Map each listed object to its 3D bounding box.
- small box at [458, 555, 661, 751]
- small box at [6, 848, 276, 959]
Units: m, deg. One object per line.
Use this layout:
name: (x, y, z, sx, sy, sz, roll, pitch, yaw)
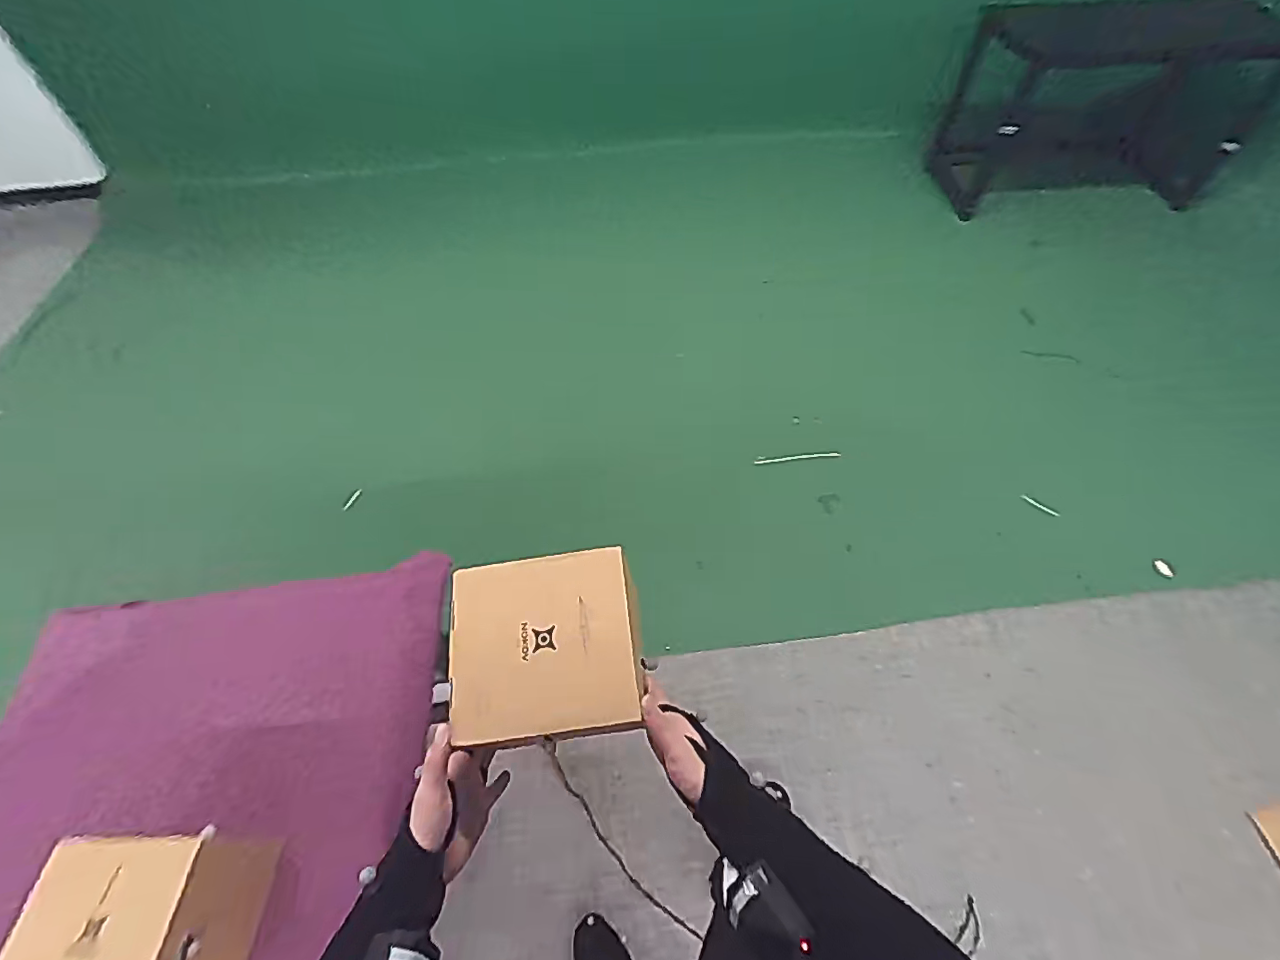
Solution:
small box: (-0.076, 0.194, 0.583, 0.179, 0.176, 0.168, -7, 63, 1)
small box: (-0.567, 0.532, 0.623, 0.168, 0.176, 0.179, -1, 55, 1)
